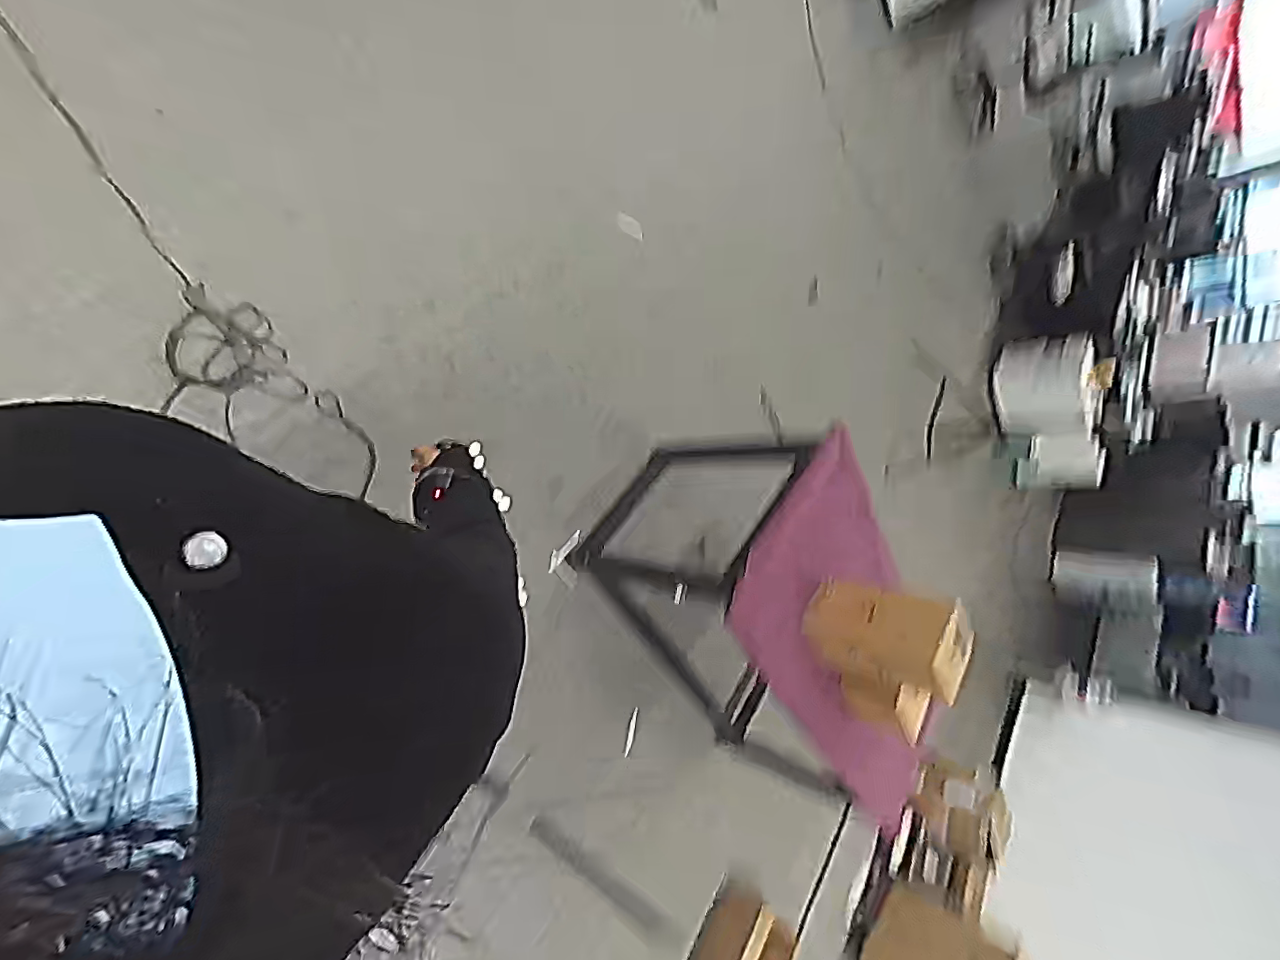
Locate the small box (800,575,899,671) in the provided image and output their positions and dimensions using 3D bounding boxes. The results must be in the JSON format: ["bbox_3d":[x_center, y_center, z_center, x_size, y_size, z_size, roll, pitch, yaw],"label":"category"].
[{"bbox_3d":[0.550,0.369,1.428,0.168,0.176,0.179,-49,121,-28],"label":"small box"}]

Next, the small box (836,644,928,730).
[{"bbox_3d":[0.697,0.576,1.559,0.168,0.176,0.179,-49,119,-29],"label":"small box"}]
